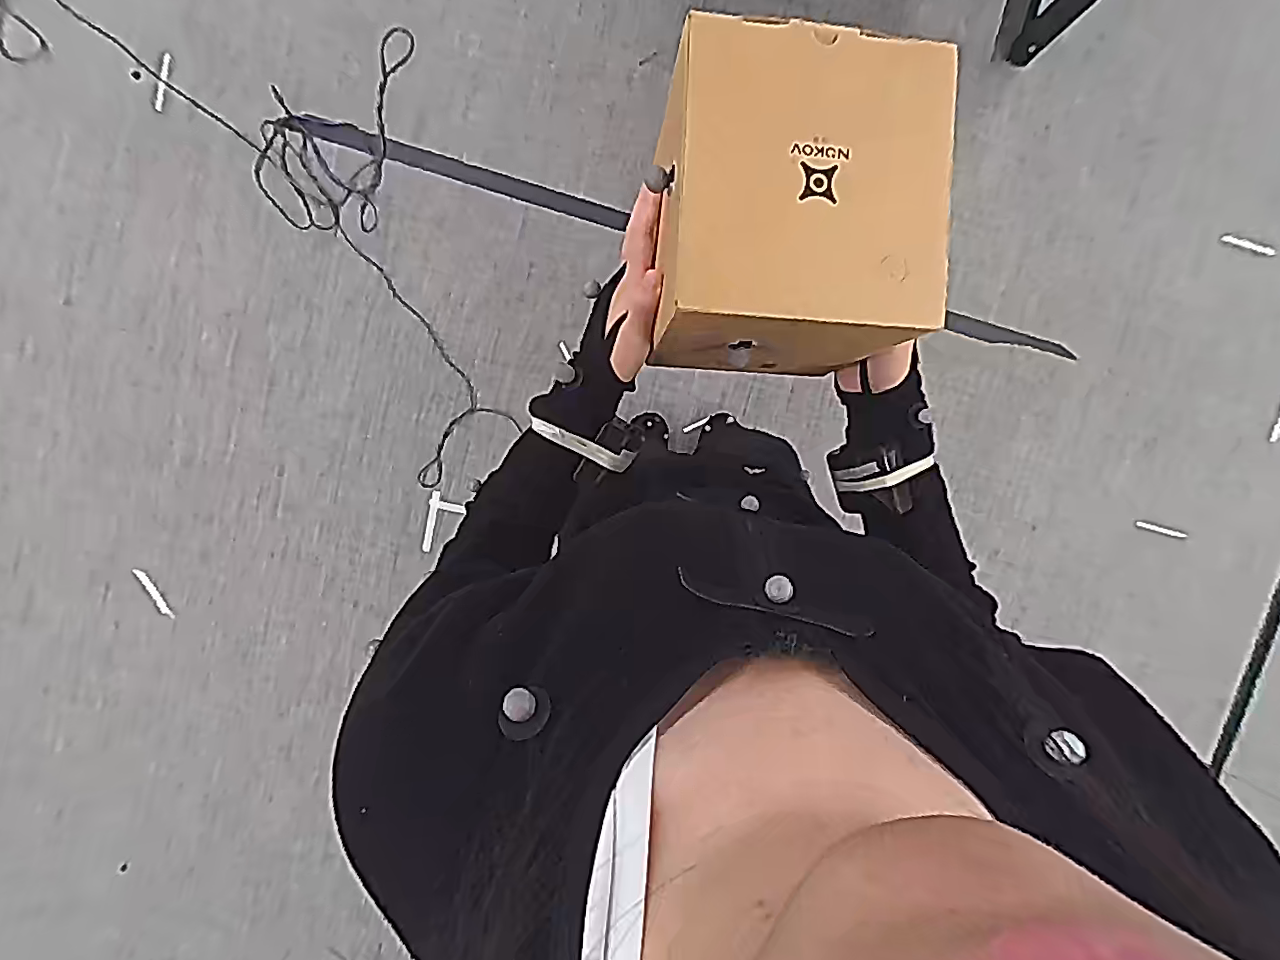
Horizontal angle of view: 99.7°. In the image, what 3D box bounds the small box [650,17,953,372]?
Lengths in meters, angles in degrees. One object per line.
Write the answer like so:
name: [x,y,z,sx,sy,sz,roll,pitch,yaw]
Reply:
small box: [0.100,-0.183,0.405,0.168,0.176,0.179,2,89,-6]
